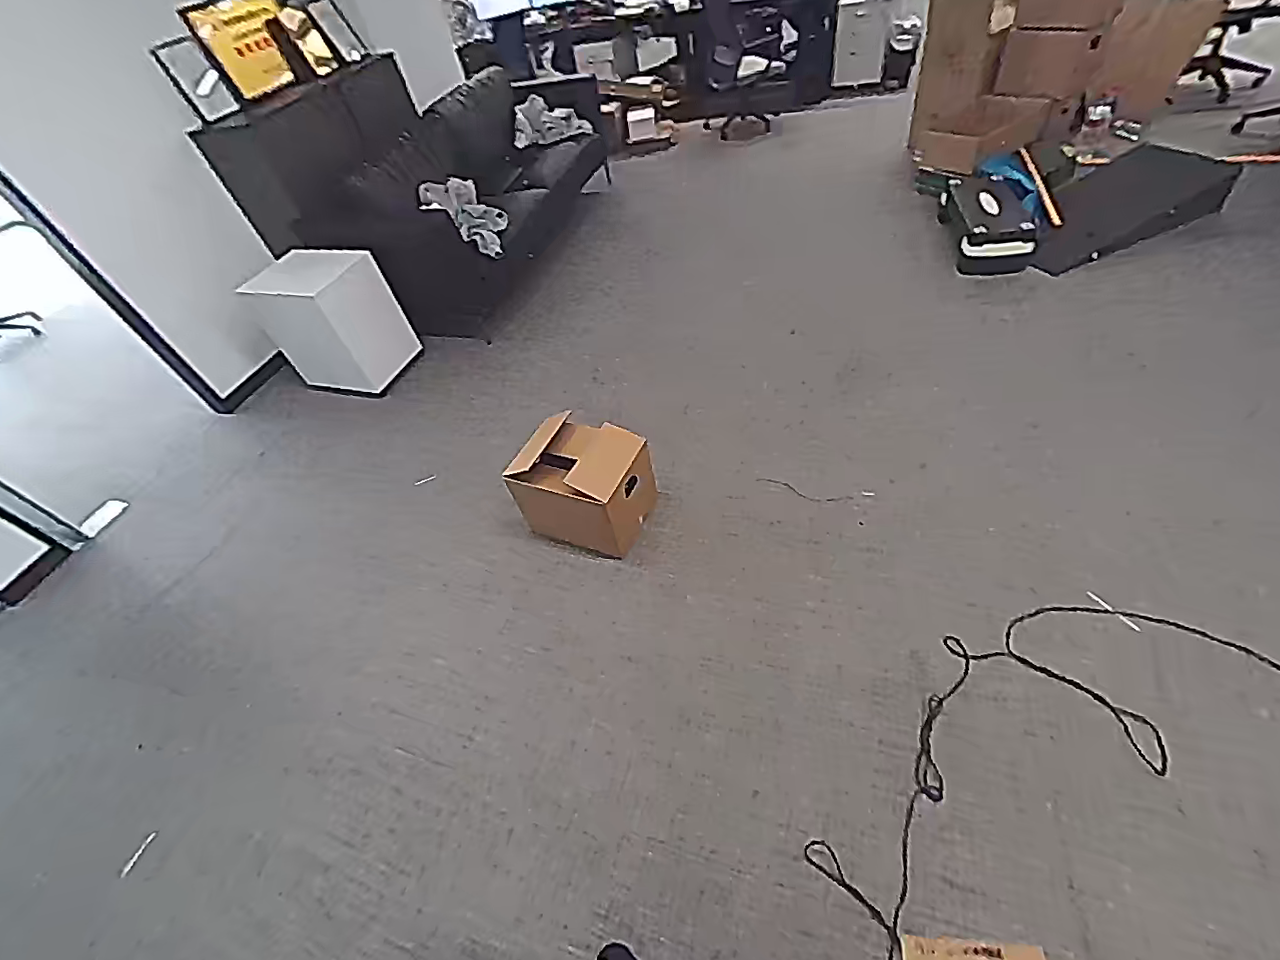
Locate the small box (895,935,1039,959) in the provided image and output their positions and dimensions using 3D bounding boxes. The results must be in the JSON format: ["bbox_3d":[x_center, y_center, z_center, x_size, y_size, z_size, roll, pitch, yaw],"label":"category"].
[{"bbox_3d":[0.408,0.671,0.618,0.168,0.179,0.176,-16,78,18],"label":"small box"}]
